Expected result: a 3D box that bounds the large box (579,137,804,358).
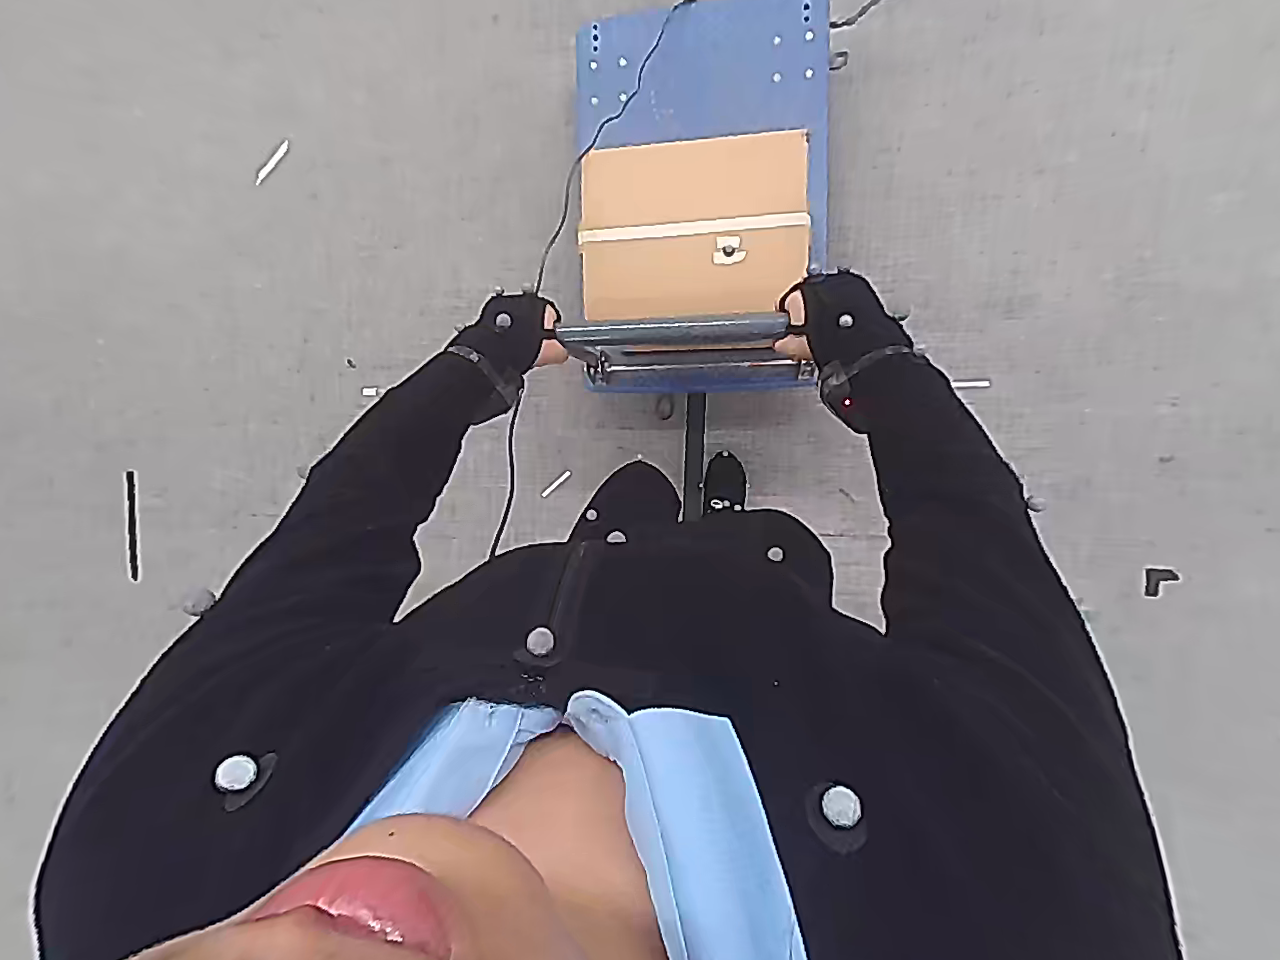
[{"bbox_3d":[0.107,-0.442,1.114,0.408,0.320,0.320,0,93,8],"label":"large box"}]
